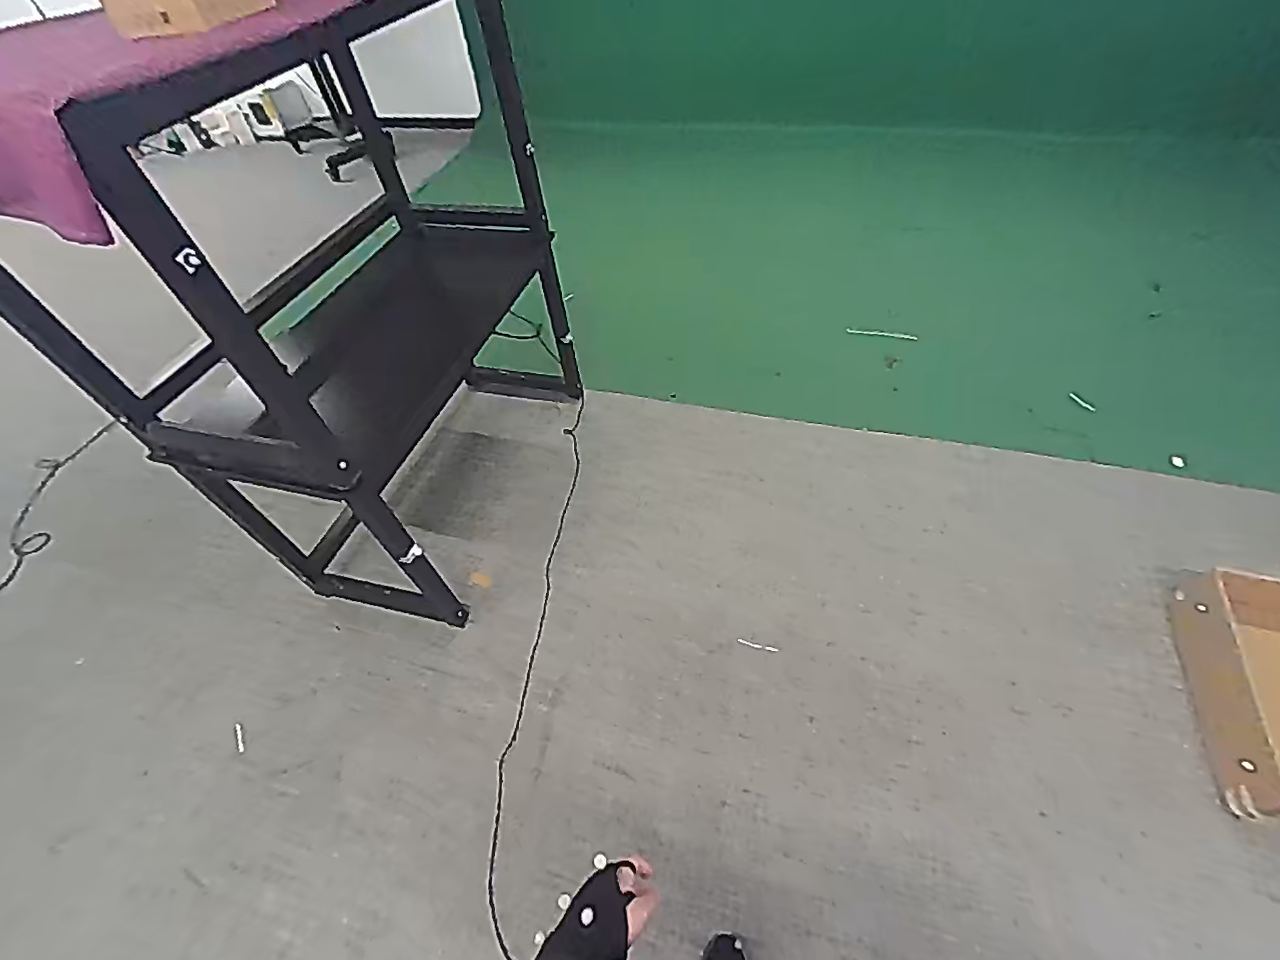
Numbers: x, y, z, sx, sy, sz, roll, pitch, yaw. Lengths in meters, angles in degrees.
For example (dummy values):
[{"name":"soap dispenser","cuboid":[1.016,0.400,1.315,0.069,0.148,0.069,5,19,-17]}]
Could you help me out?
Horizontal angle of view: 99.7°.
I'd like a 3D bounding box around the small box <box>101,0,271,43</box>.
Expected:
[{"name":"small box","cuboid":[-0.720,-0.789,0.825,0.168,0.176,0.179,6,51,12]}]
